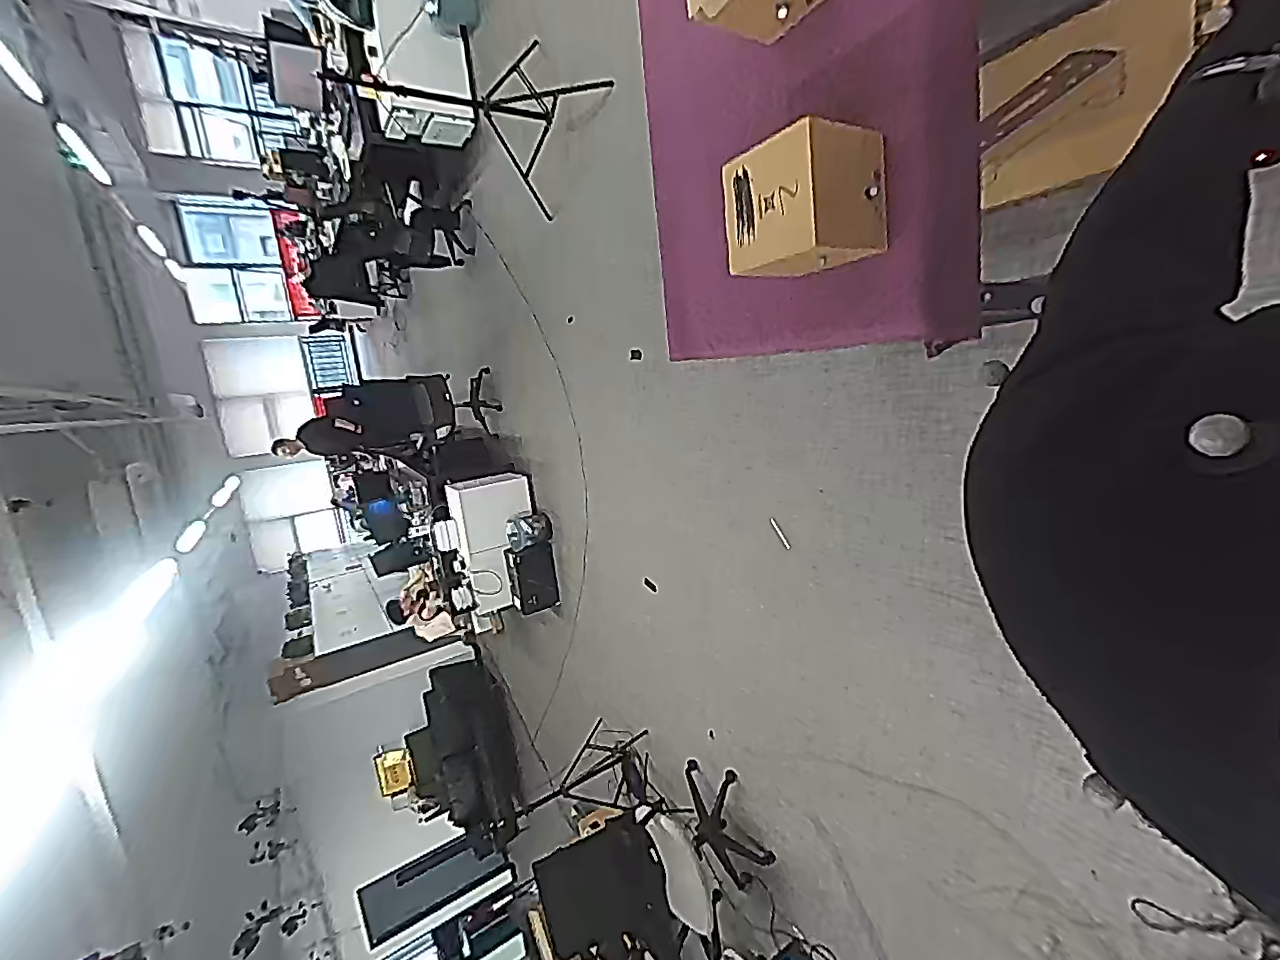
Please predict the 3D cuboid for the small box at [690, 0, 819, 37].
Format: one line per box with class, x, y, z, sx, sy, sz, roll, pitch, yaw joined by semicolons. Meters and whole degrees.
small box;0.183;-0.806;0.795;0.168;0.176;0.179;10;110;60
